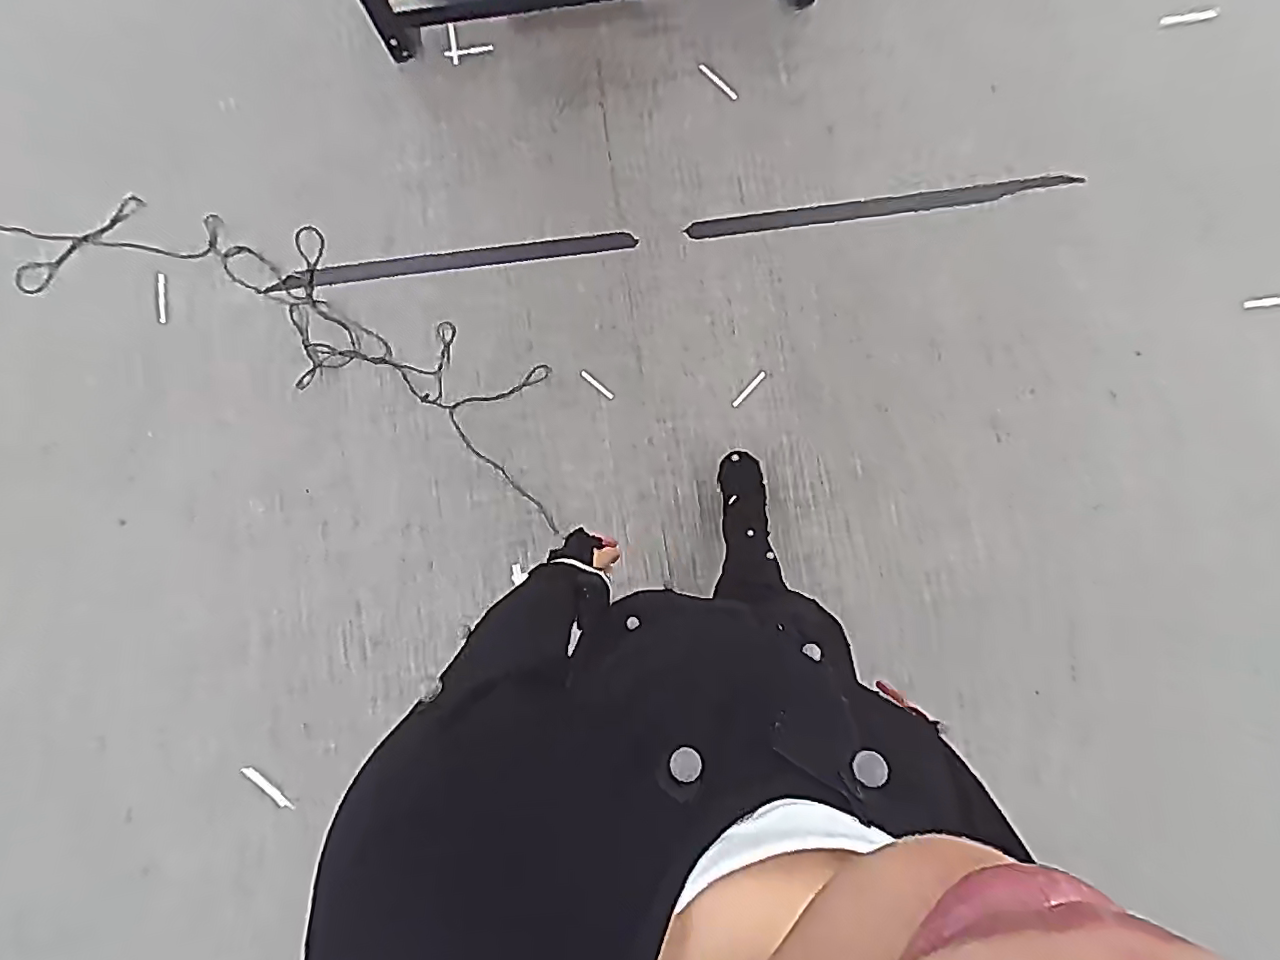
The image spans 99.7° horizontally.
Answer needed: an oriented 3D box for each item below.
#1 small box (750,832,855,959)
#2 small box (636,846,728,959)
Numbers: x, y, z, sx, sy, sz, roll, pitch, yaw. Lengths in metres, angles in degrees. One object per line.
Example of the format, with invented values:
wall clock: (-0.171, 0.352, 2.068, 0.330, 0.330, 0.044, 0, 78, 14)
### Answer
small box: (0.360, 0.937, 1.225, 0.179, 0.176, 0.168, -7, 85, 1)
small box: (0.093, 0.978, 1.234, 0.179, 0.176, 0.168, -12, 85, 0)
